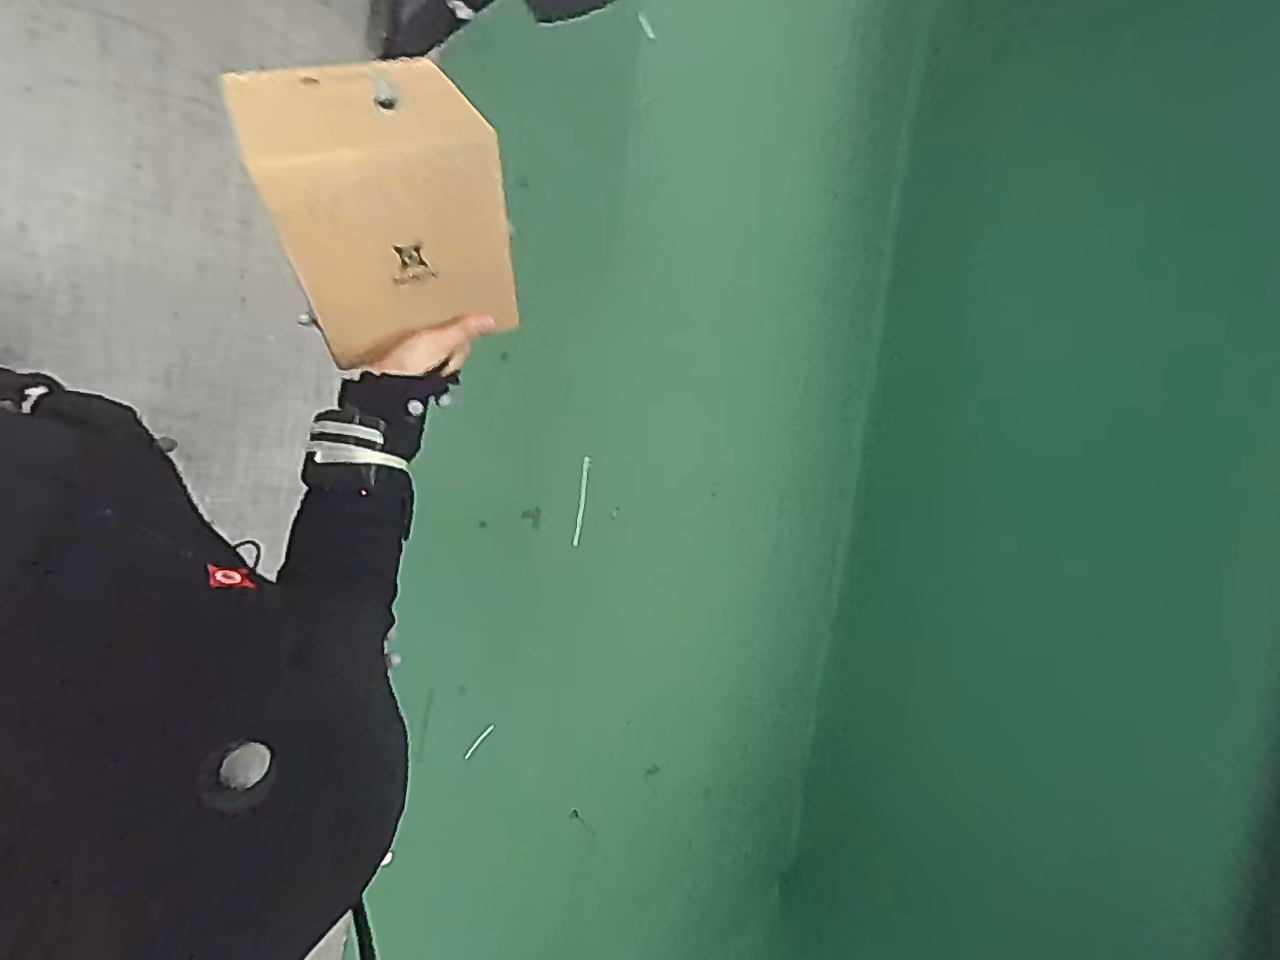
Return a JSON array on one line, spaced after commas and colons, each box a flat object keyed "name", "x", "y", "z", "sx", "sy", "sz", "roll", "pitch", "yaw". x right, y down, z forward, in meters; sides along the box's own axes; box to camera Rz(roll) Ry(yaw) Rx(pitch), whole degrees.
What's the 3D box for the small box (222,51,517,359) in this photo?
[{"name": "small box", "x": -0.222, "y": -0.242, "z": 0.467, "sx": 0.168, "sy": 0.176, "sz": 0.179, "roll": -22, "pitch": 149, "yaw": -21}]
